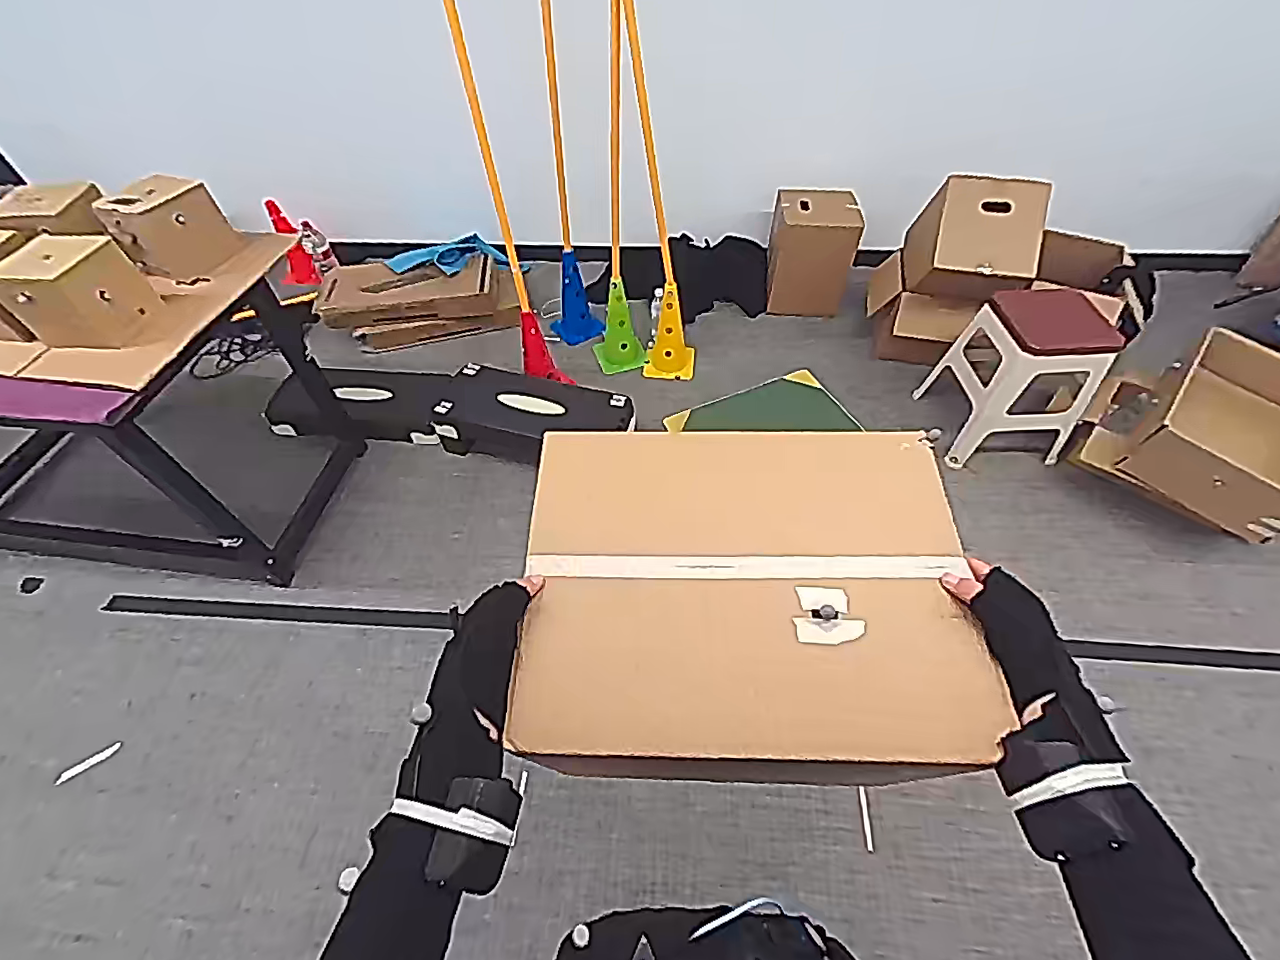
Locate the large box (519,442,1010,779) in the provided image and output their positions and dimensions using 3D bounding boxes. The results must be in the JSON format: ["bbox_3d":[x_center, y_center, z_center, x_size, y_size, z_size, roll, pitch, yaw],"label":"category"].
[{"bbox_3d":[0.103,0.168,0.637,0.408,0.320,0.320,1,59,2],"label":"large box"}]
